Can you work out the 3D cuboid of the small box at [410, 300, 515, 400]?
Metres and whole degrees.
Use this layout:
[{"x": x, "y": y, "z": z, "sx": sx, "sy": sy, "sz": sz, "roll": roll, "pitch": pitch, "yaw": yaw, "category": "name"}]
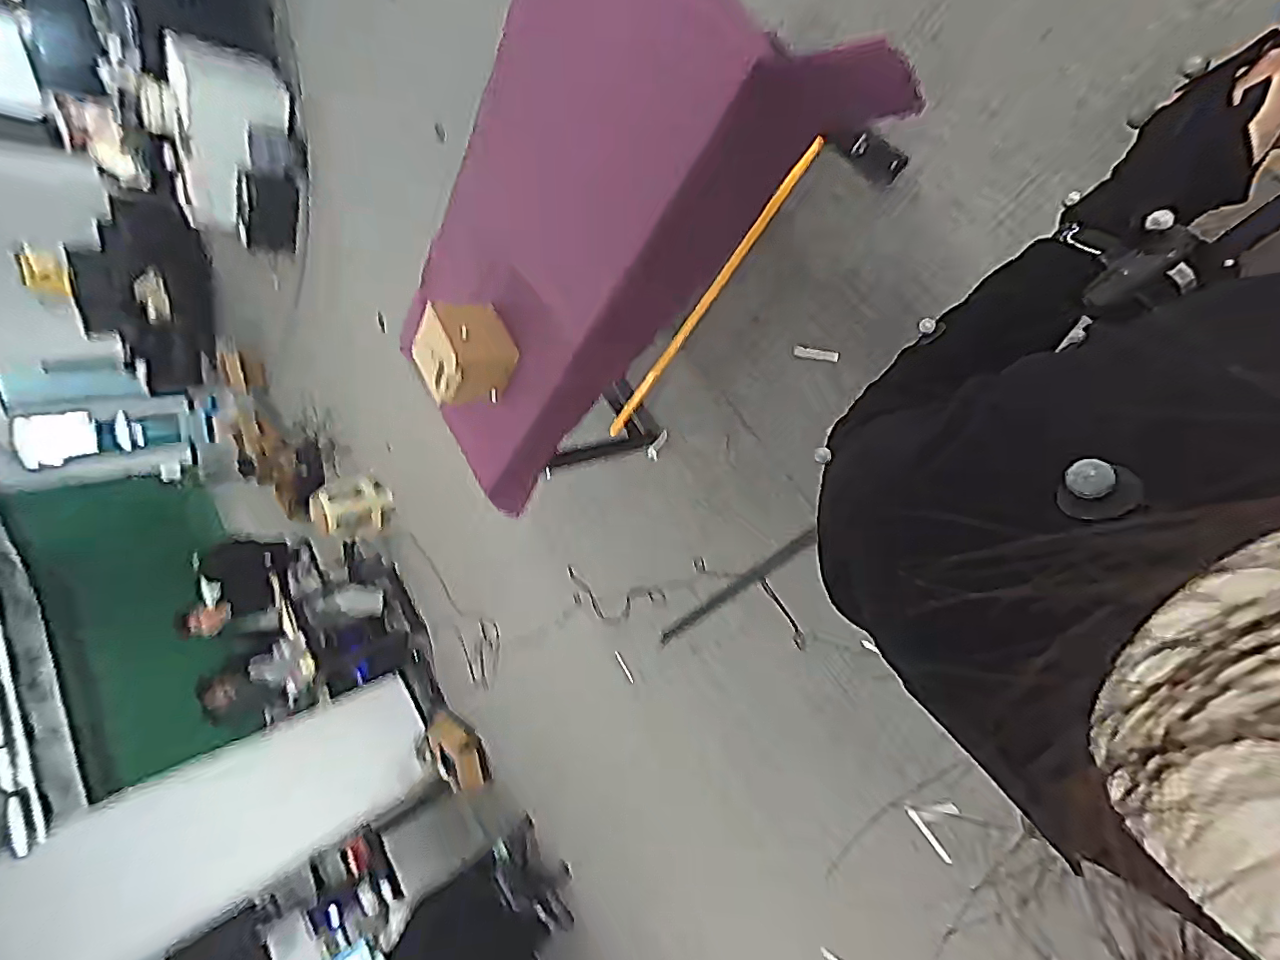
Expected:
[{"x": -0.435, "y": -0.322, "z": 1.331, "sx": 0.168, "sy": 0.176, "sz": 0.179, "roll": -44, "pitch": 70, "yaw": 41, "category": "small box"}]
